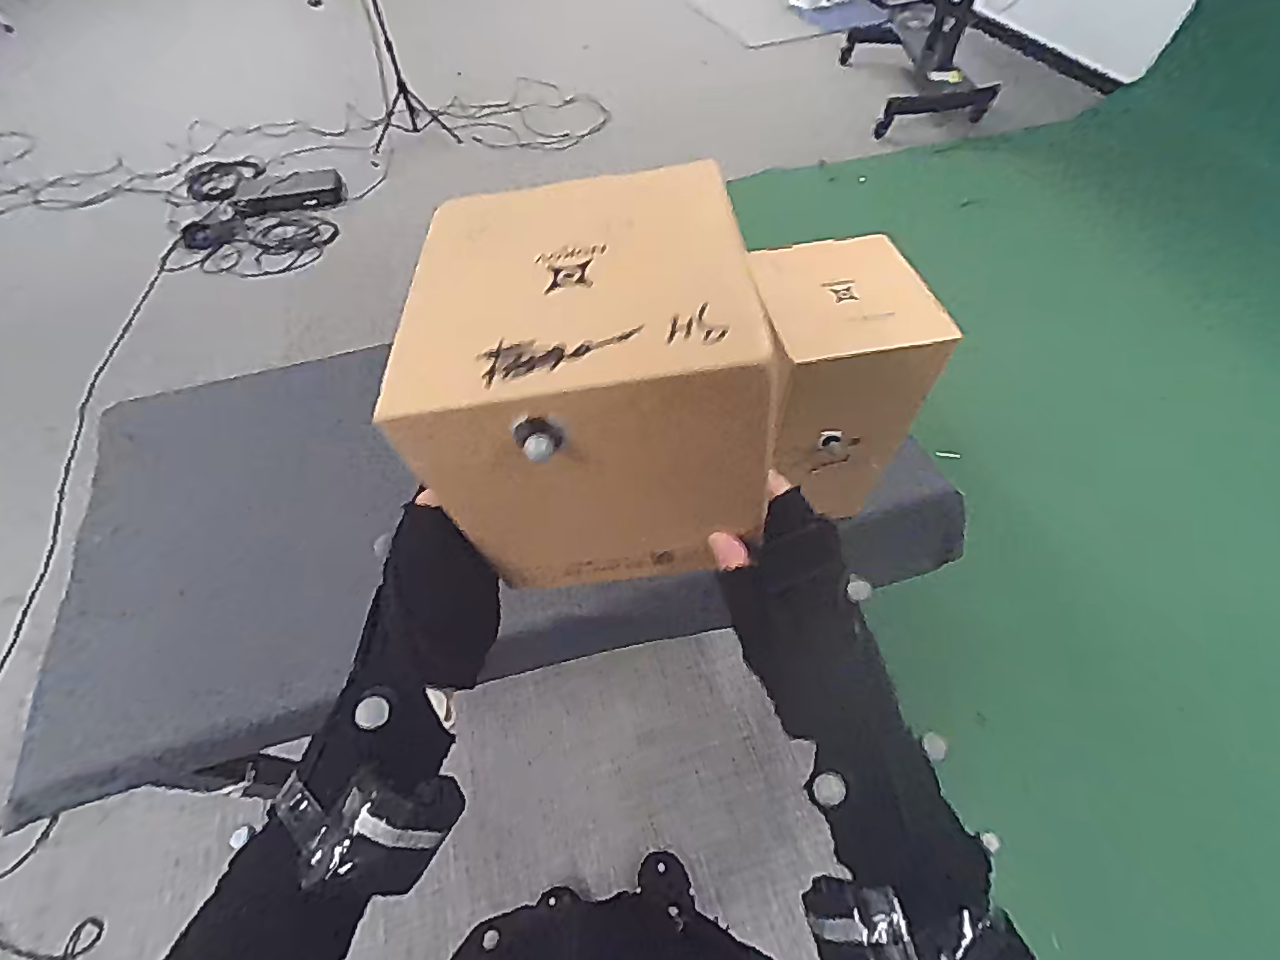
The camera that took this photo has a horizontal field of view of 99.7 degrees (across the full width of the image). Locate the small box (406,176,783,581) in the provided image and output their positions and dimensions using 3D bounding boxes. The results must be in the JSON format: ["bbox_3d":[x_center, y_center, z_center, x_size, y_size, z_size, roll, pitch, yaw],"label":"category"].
[{"bbox_3d":[-0.013,-0.057,0.341,0.168,0.176,0.179,-7,52,5],"label":"small box"}]

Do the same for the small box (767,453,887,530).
[{"bbox_3d":[0.209,-0.044,0.754,0.168,0.176,0.179,-10,54,-5],"label":"small box"}]

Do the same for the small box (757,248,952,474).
[{"bbox_3d":[0.204,-0.132,0.619,0.168,0.176,0.179,-10,56,-4],"label":"small box"}]
